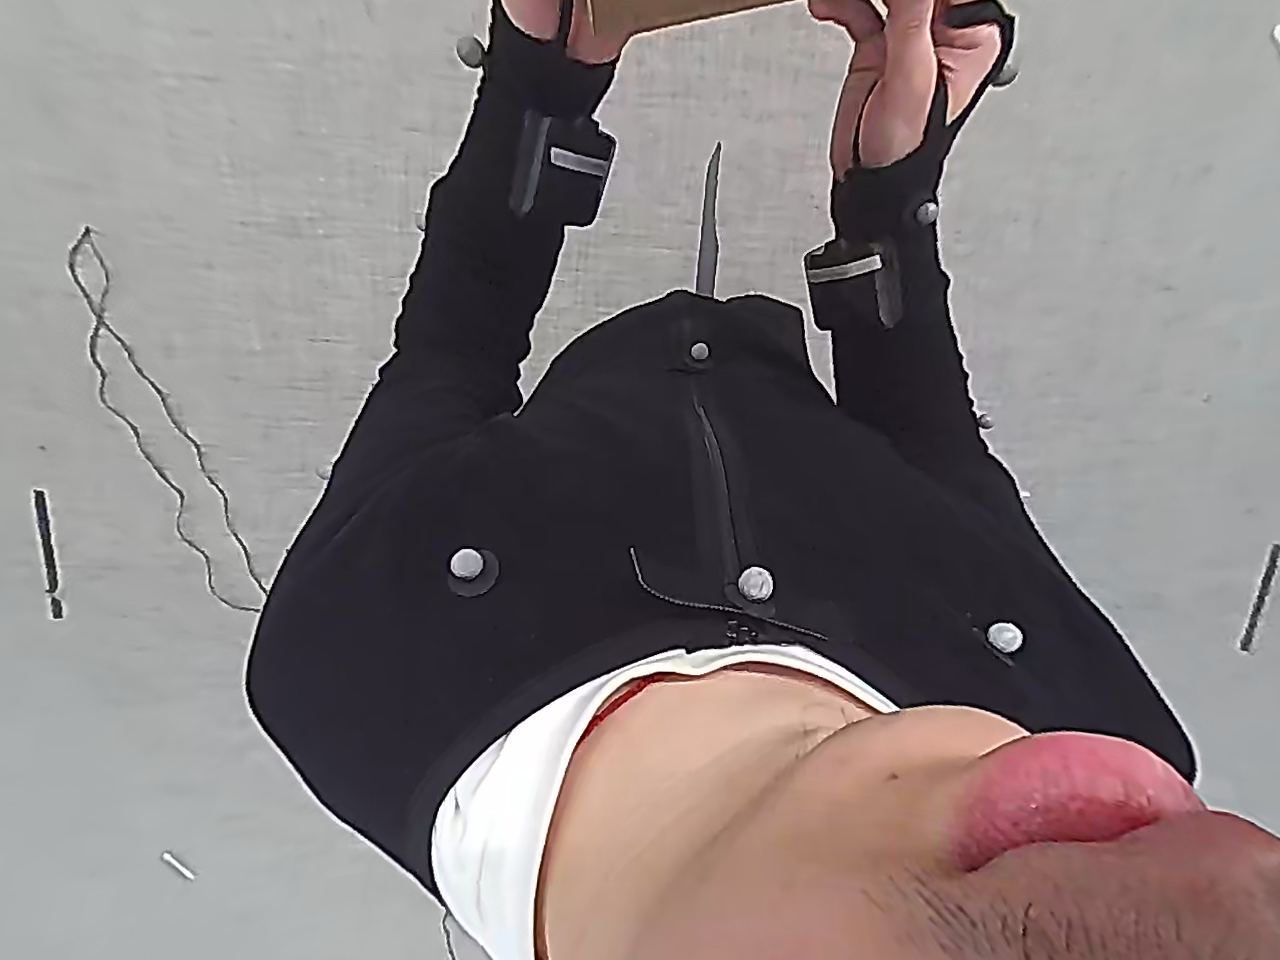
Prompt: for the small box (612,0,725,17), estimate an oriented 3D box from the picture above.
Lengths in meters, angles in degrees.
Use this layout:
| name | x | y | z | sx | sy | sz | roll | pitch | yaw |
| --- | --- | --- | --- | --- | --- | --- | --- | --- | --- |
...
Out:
| name | x | y | z | sx | sy | sz | roll | pitch | yaw |
| --- | --- | --- | --- | --- | --- | --- | --- | --- | --- |
| small box | 0.048 | -0.290 | 0.173 | 0.168 | 0.176 | 0.179 | -11 | 112 | 0 |
